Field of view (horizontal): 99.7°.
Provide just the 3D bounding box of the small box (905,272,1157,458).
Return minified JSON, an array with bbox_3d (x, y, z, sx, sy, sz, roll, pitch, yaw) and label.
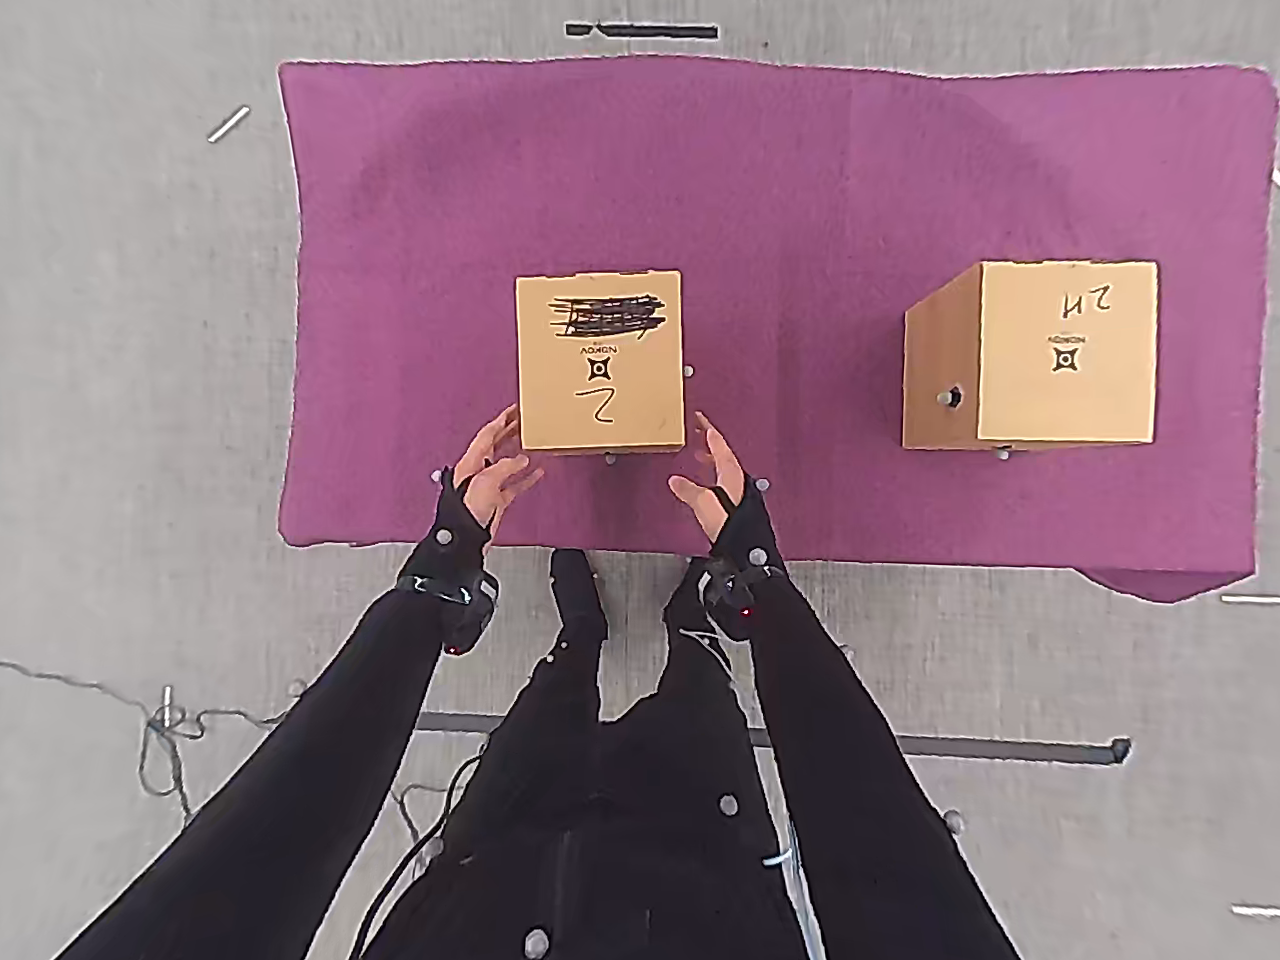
[{"bbox_3d":[0.415,-0.115,0.604,0.168,0.176,0.179,2,90,2],"label":"small box"}]
